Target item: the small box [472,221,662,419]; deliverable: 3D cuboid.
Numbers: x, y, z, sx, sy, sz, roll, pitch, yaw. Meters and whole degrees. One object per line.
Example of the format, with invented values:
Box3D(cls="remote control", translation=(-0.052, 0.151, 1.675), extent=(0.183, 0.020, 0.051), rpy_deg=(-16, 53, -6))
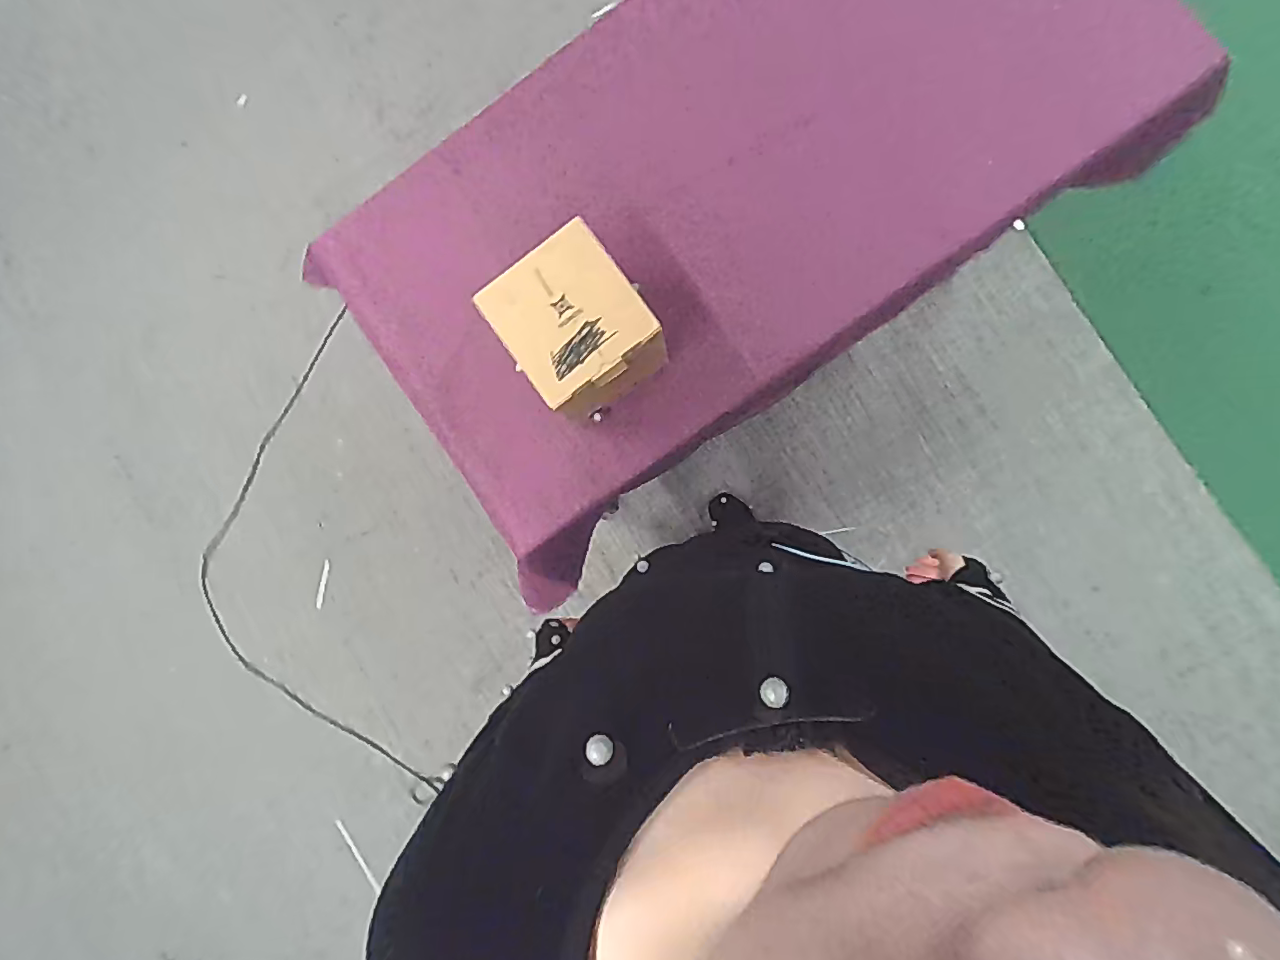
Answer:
Box3D(cls="small box", translation=(-0.084, -0.196, 0.729), extent=(0.168, 0.176, 0.179), rpy_deg=(-36, 84, 4))
